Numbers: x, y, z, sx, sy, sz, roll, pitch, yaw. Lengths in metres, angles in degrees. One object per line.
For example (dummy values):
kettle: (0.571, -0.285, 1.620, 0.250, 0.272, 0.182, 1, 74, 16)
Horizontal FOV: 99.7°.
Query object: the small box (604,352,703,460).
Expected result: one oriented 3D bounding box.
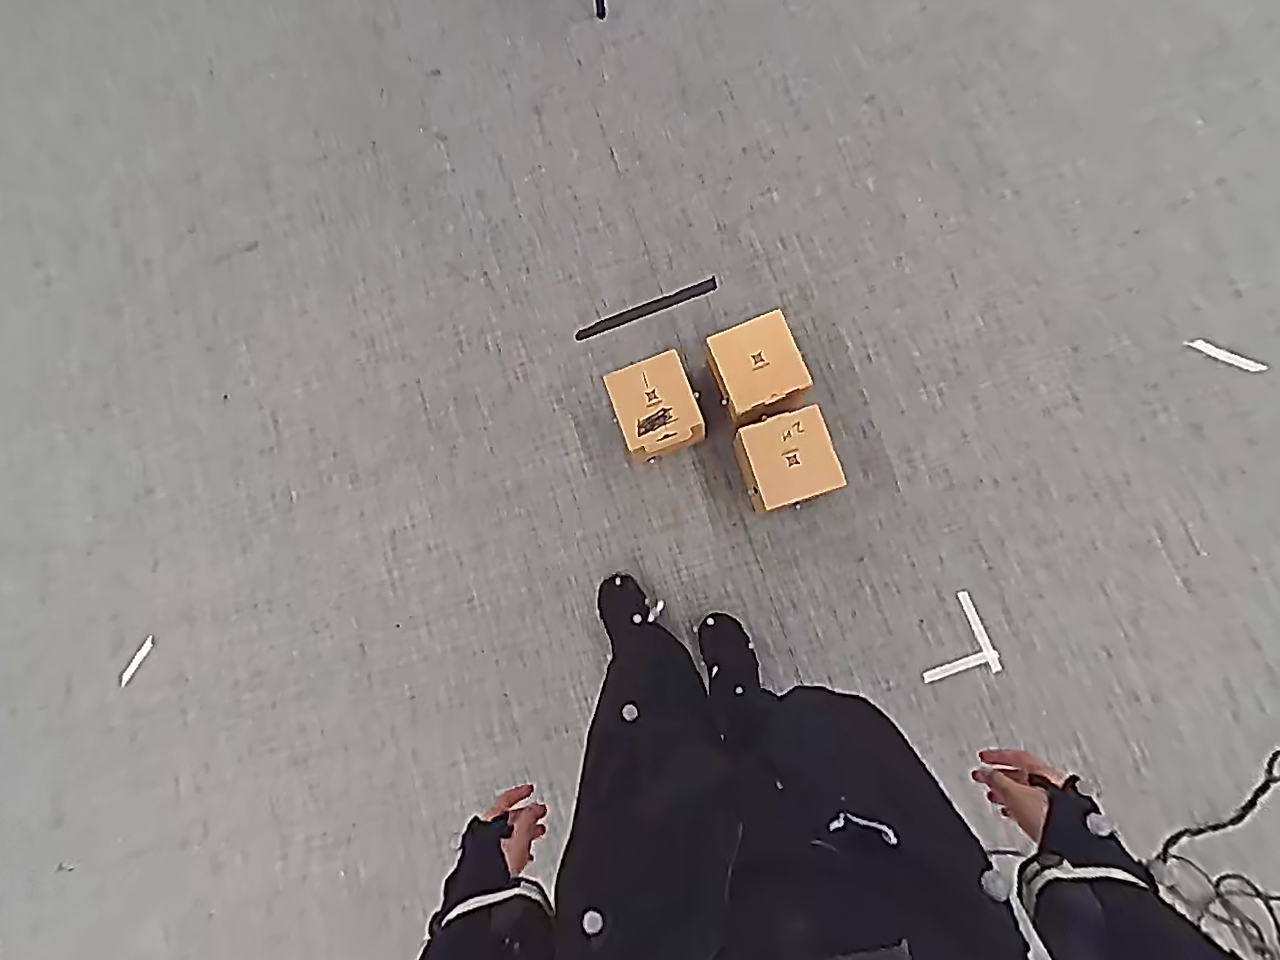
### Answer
small box: (0.037, -0.151, 1.192, 0.168, 0.176, 0.179, -20, 80, 4)
